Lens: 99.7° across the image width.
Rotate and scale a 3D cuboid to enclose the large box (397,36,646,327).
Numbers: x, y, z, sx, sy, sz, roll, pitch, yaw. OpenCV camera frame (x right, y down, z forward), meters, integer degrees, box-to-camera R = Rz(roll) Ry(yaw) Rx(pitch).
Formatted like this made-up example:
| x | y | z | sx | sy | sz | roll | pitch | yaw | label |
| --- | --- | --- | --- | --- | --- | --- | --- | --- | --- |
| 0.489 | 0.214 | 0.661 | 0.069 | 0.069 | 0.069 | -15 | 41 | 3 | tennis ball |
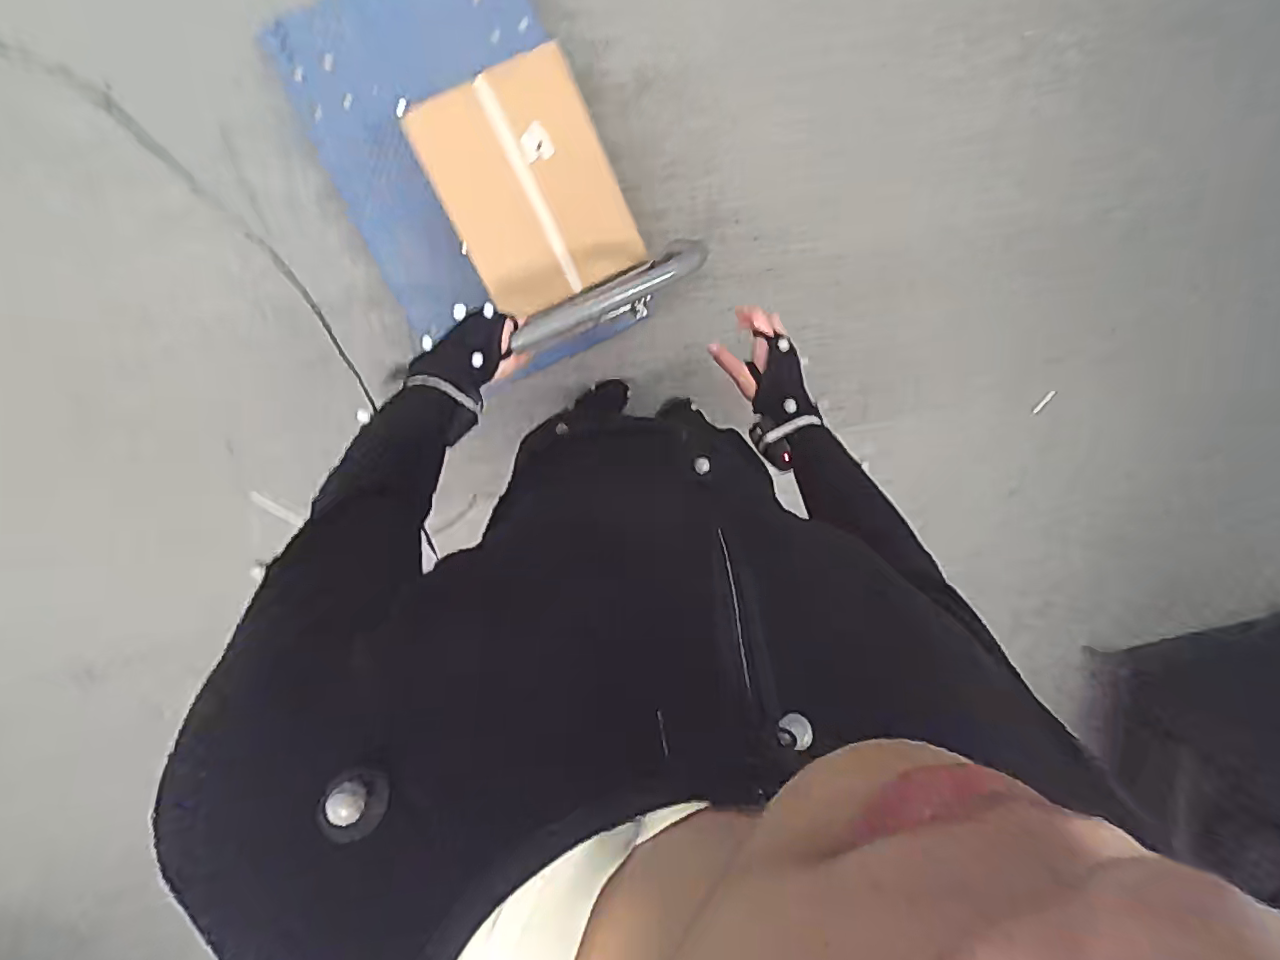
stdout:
| x | y | z | sx | sy | sz | roll | pitch | yaw | label |
| --- | --- | --- | --- | --- | --- | --- | --- | --- | --- |
| -0.225 | -0.578 | 1.141 | 0.320 | 0.320 | 0.408 | -26 | 105 | -2 | large box |
